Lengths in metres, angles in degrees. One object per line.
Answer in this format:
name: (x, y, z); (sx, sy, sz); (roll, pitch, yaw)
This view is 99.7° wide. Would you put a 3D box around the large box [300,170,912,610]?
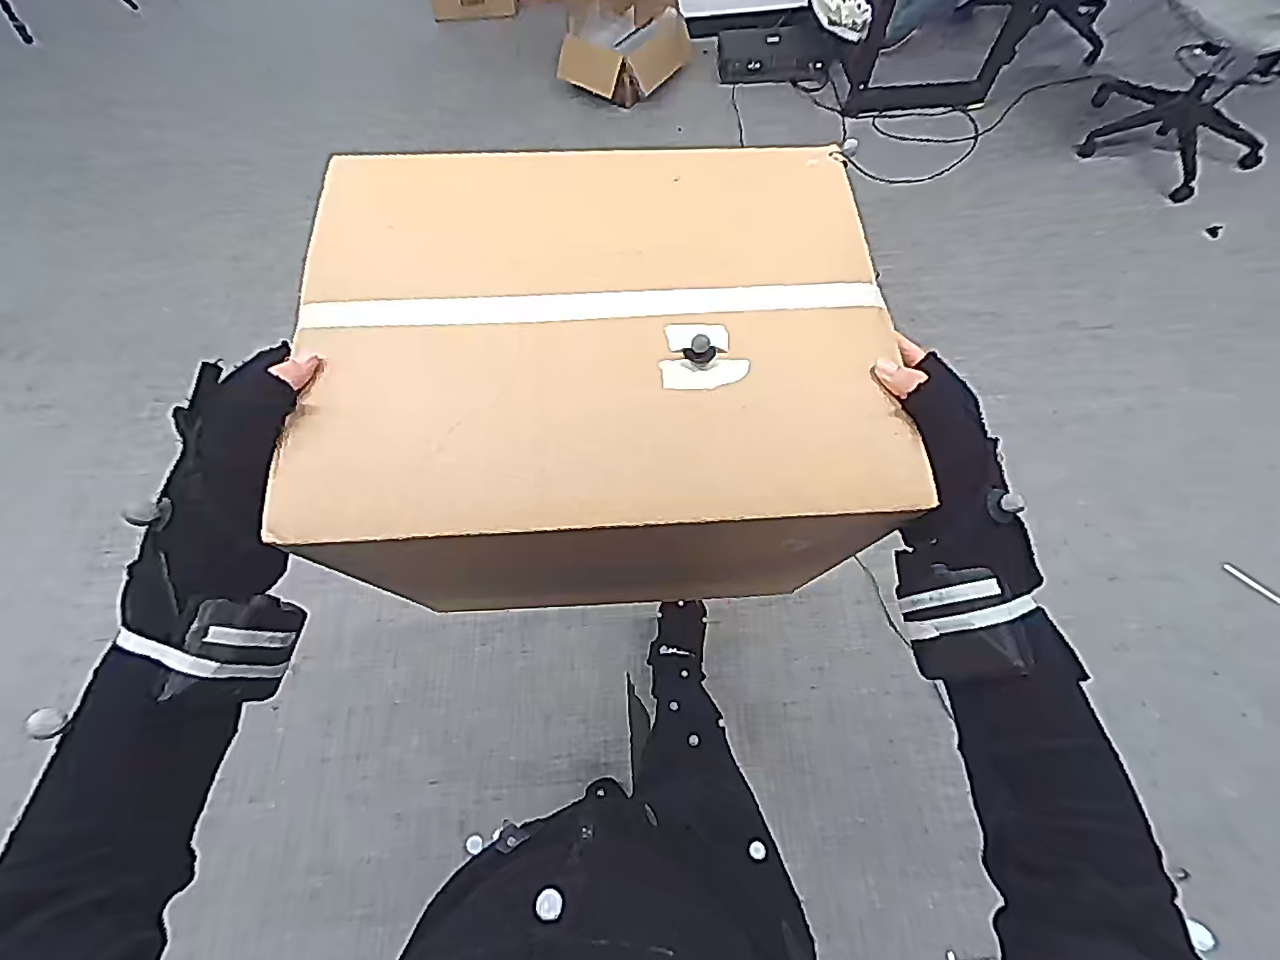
large box: (-0.032, -0.061, 0.538); (0.408, 0.320, 0.320); (-3, 69, -3)
